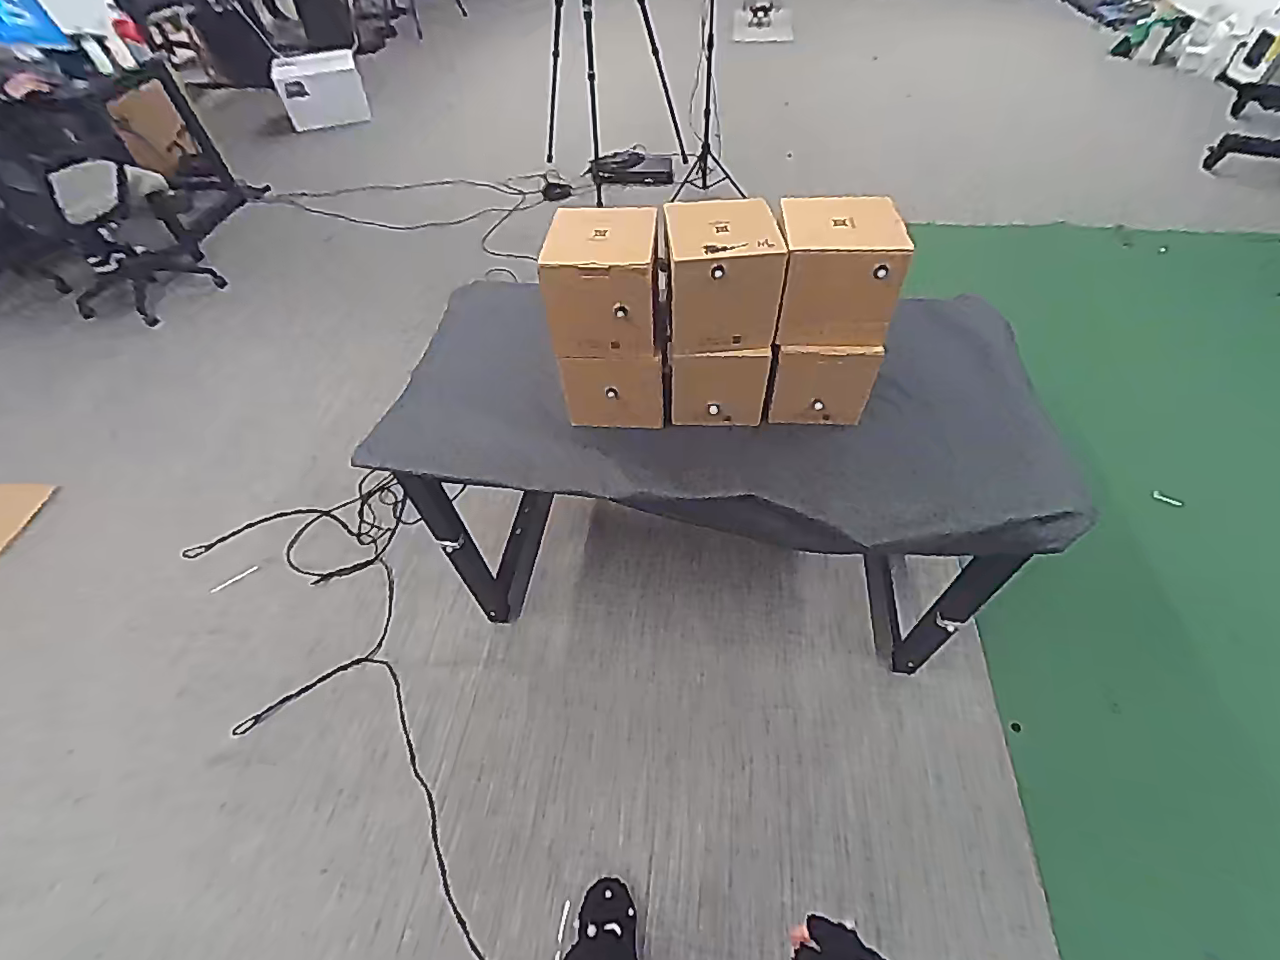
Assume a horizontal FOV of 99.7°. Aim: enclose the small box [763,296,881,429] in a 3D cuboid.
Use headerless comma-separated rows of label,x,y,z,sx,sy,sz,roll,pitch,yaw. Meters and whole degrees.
small box,0.322,-0.216,0.996,0.168,0.176,0.179,2,51,6
